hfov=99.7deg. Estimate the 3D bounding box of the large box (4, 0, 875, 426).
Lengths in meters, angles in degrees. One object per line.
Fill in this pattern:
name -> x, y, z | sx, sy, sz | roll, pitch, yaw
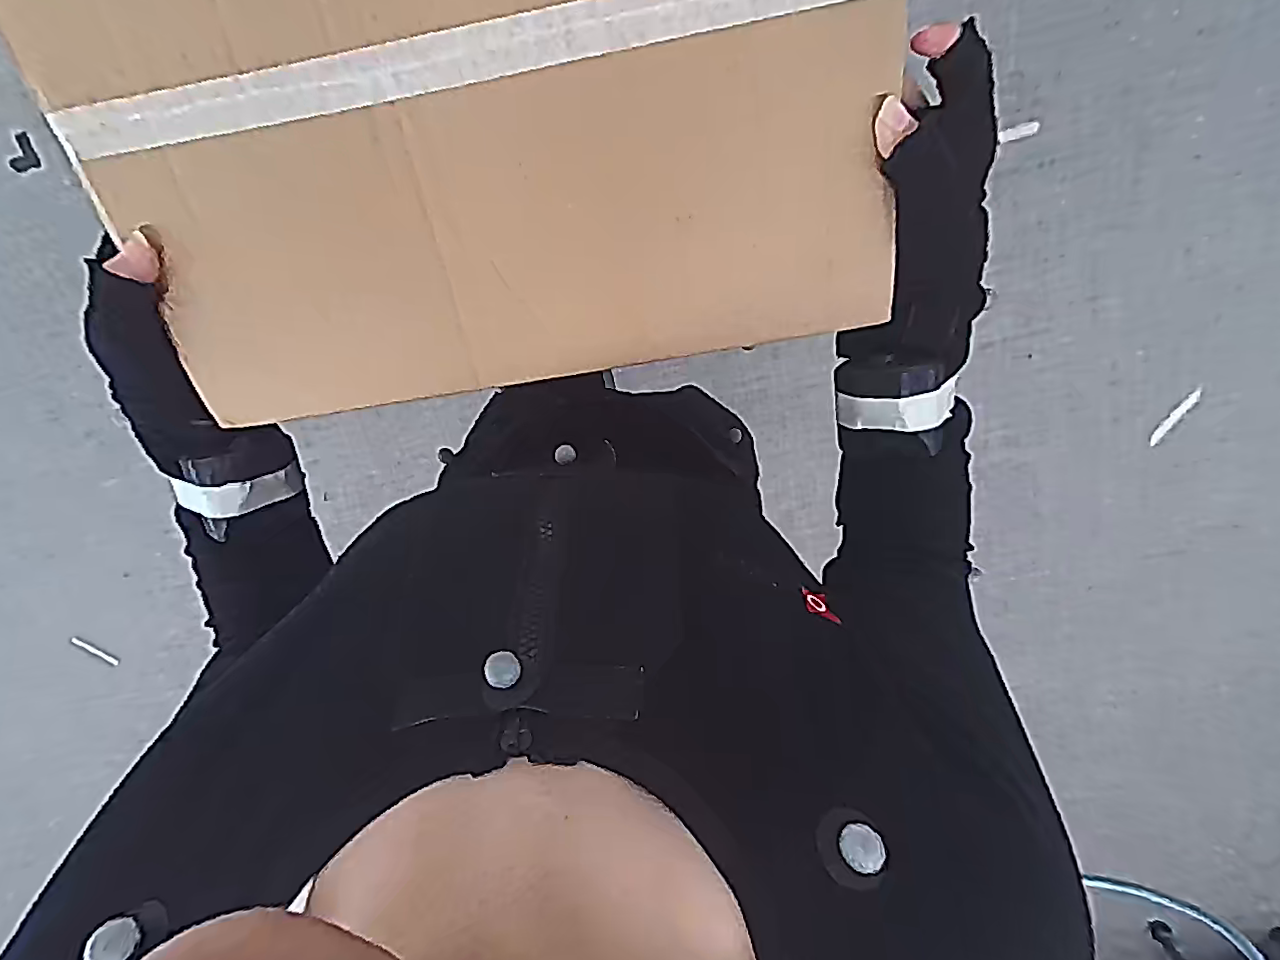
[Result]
large box -> -0.085, -0.267, 0.394 | 0.408, 0.320, 0.320 | -9, 116, 4
